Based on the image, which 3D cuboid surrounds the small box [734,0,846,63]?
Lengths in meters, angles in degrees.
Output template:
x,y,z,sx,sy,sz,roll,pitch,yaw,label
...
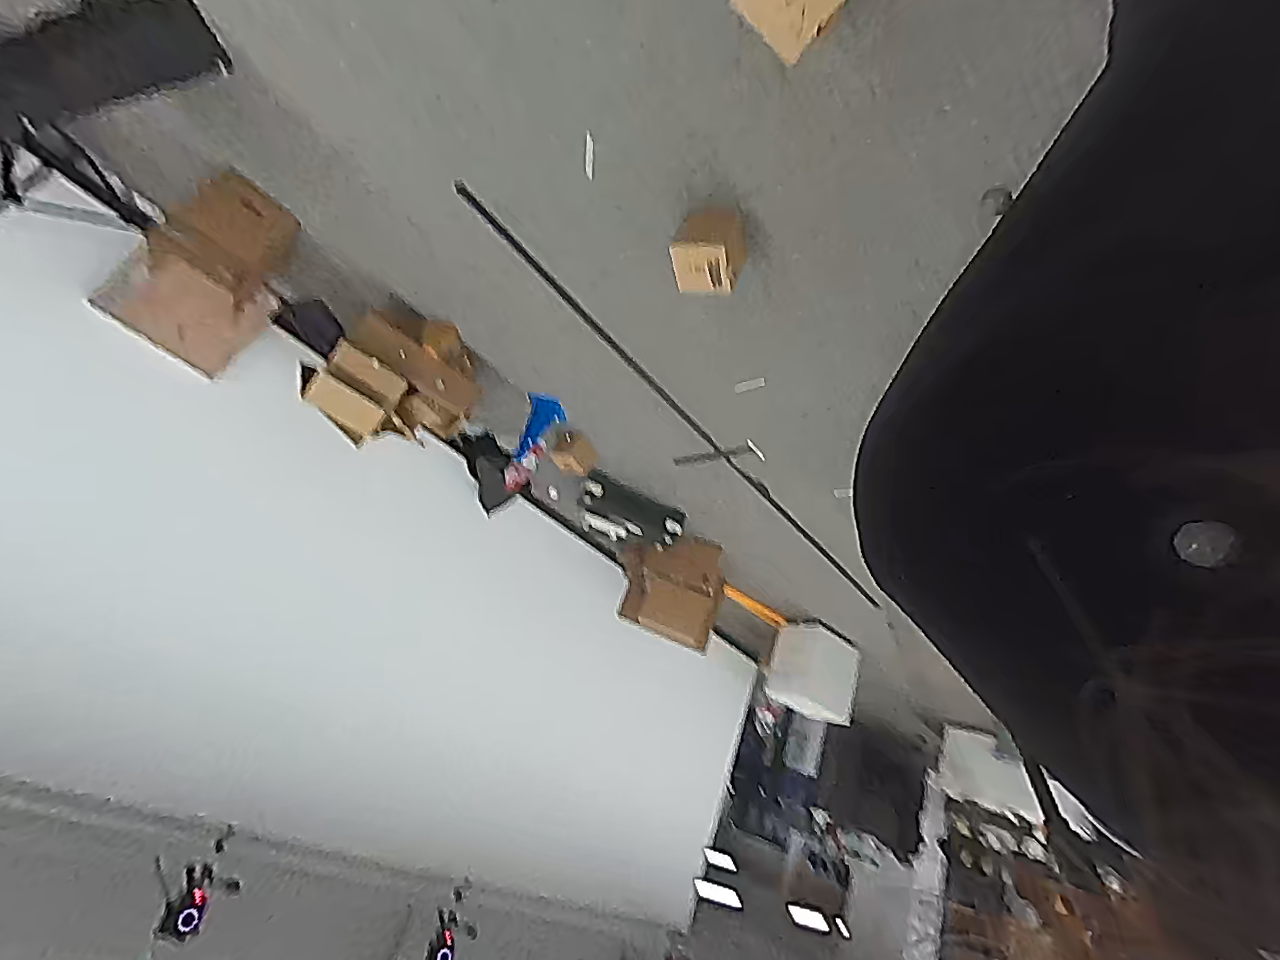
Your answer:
x,y,z,sx,sy,sz,roll,pitch,yaw,label
0.310,-0.969,1.033,0.179,0.176,0.168,33,153,-18,small box
